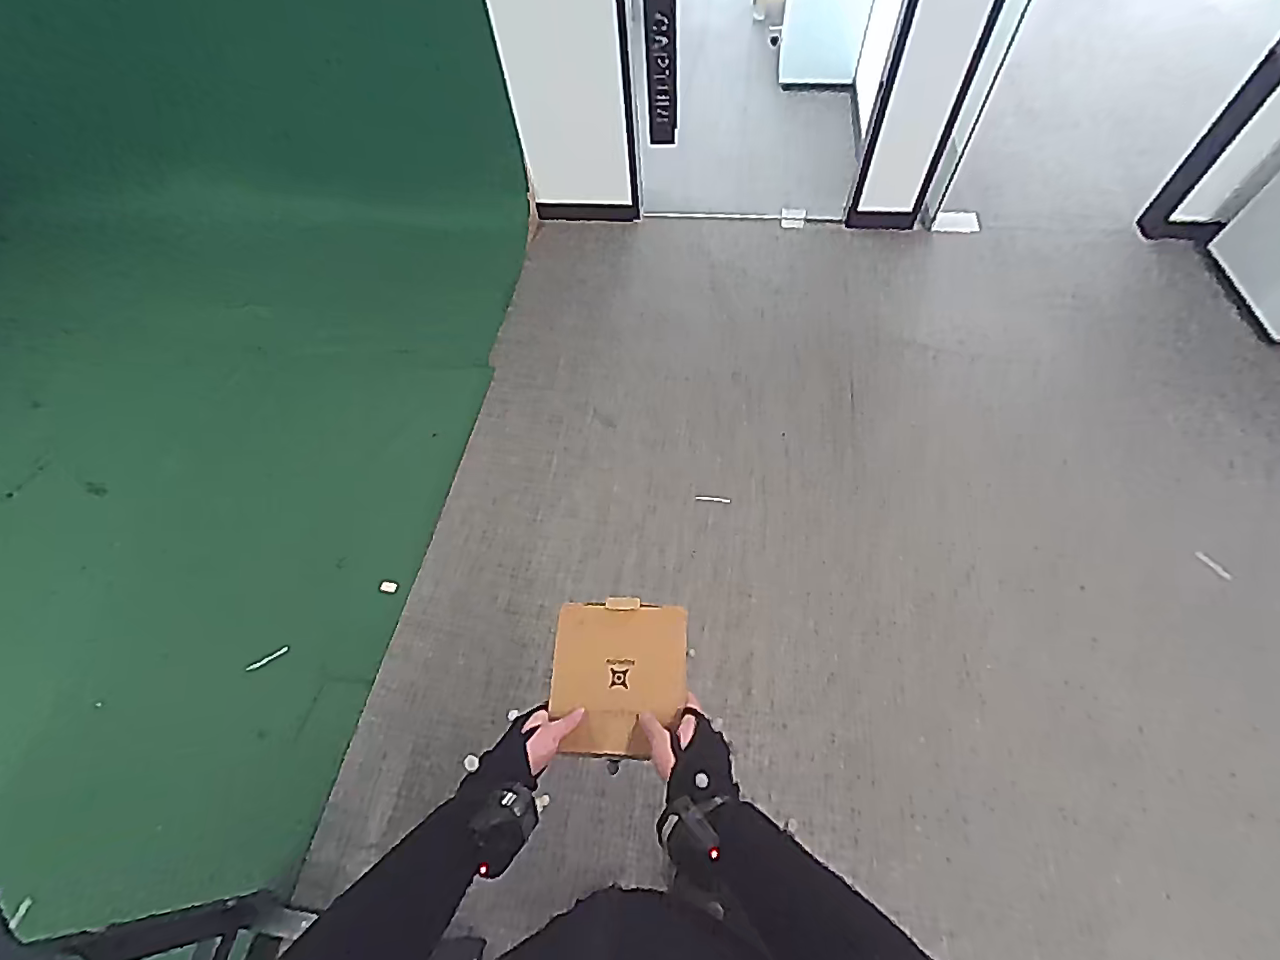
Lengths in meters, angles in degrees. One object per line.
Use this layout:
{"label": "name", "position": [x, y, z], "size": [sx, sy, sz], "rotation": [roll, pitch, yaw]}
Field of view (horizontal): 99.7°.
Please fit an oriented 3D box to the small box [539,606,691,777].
{"label": "small box", "position": [-0.021, 0.280, 0.707], "size": [0.168, 0.176, 0.179], "rotation": [2, 60, 5]}
